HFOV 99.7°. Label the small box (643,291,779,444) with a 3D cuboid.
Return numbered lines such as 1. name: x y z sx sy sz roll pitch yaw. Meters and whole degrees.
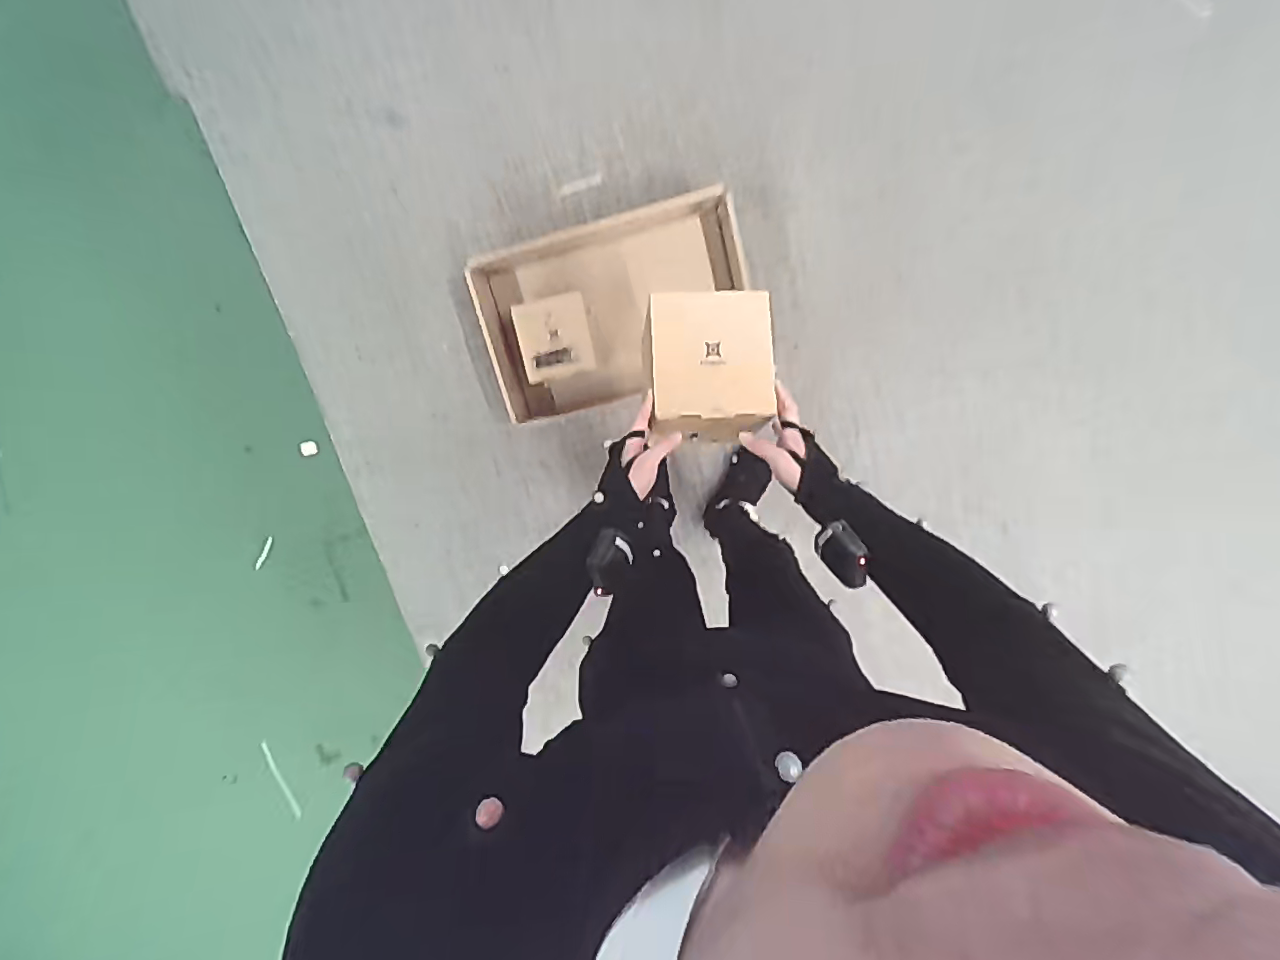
1. small box: 0.092 -0.155 0.789 0.168 0.176 0.179 -2 83 -4
